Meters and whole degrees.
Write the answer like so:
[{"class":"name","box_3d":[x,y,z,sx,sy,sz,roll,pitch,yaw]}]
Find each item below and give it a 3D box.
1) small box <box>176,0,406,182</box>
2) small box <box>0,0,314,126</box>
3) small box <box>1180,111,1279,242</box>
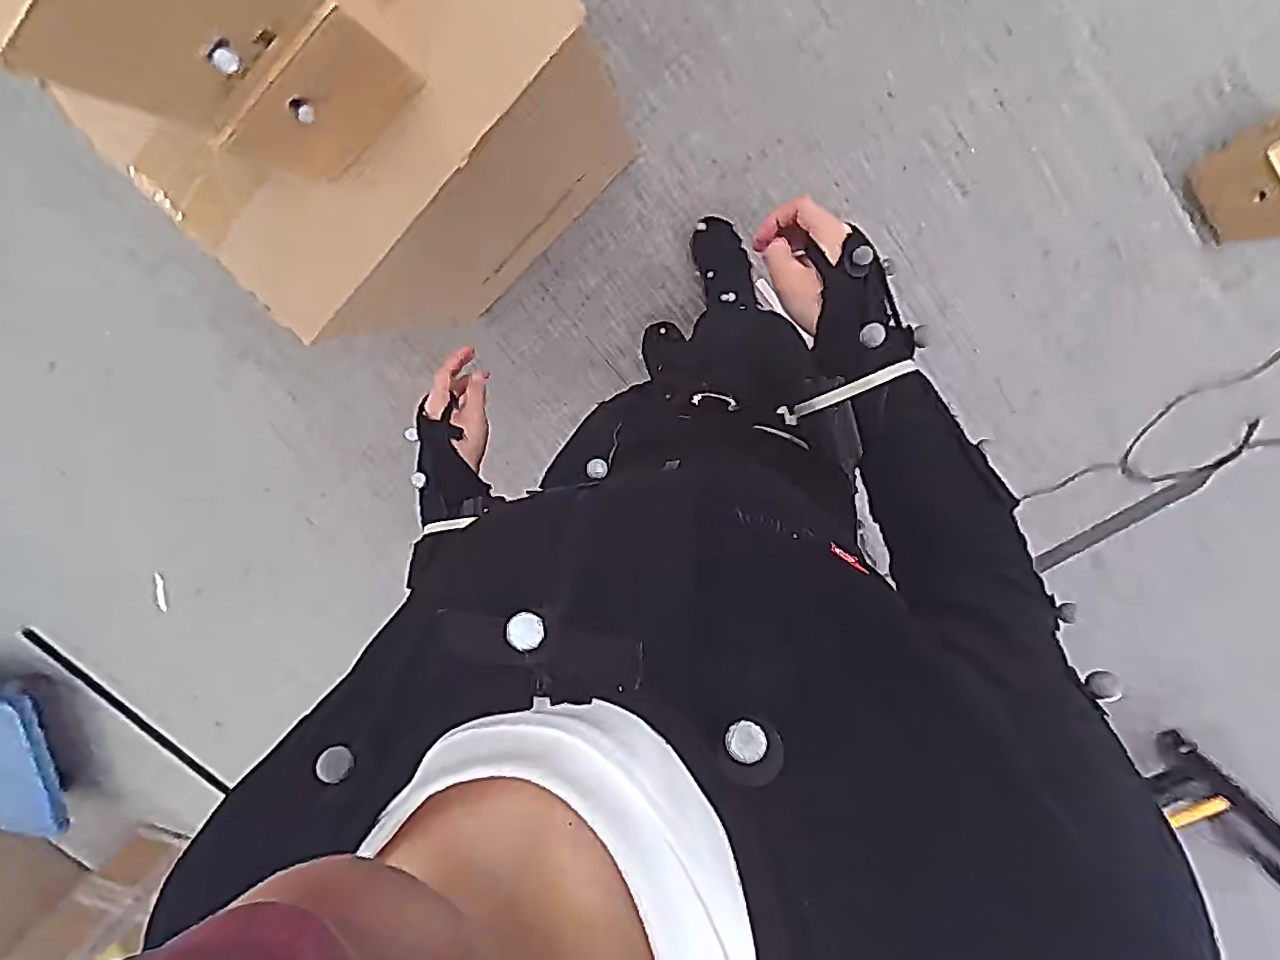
[{"class":"small box","box_3d":[-0.361,-0.428,0.525,0.179,0.176,0.168,-35,103,16]},{"class":"small box","box_3d":[-0.378,-0.388,0.365,0.168,0.176,0.179,-34,104,16]},{"class":"small box","box_3d":[1.180,-0.569,1.004,0.168,0.176,0.179,-37,102,16]}]
